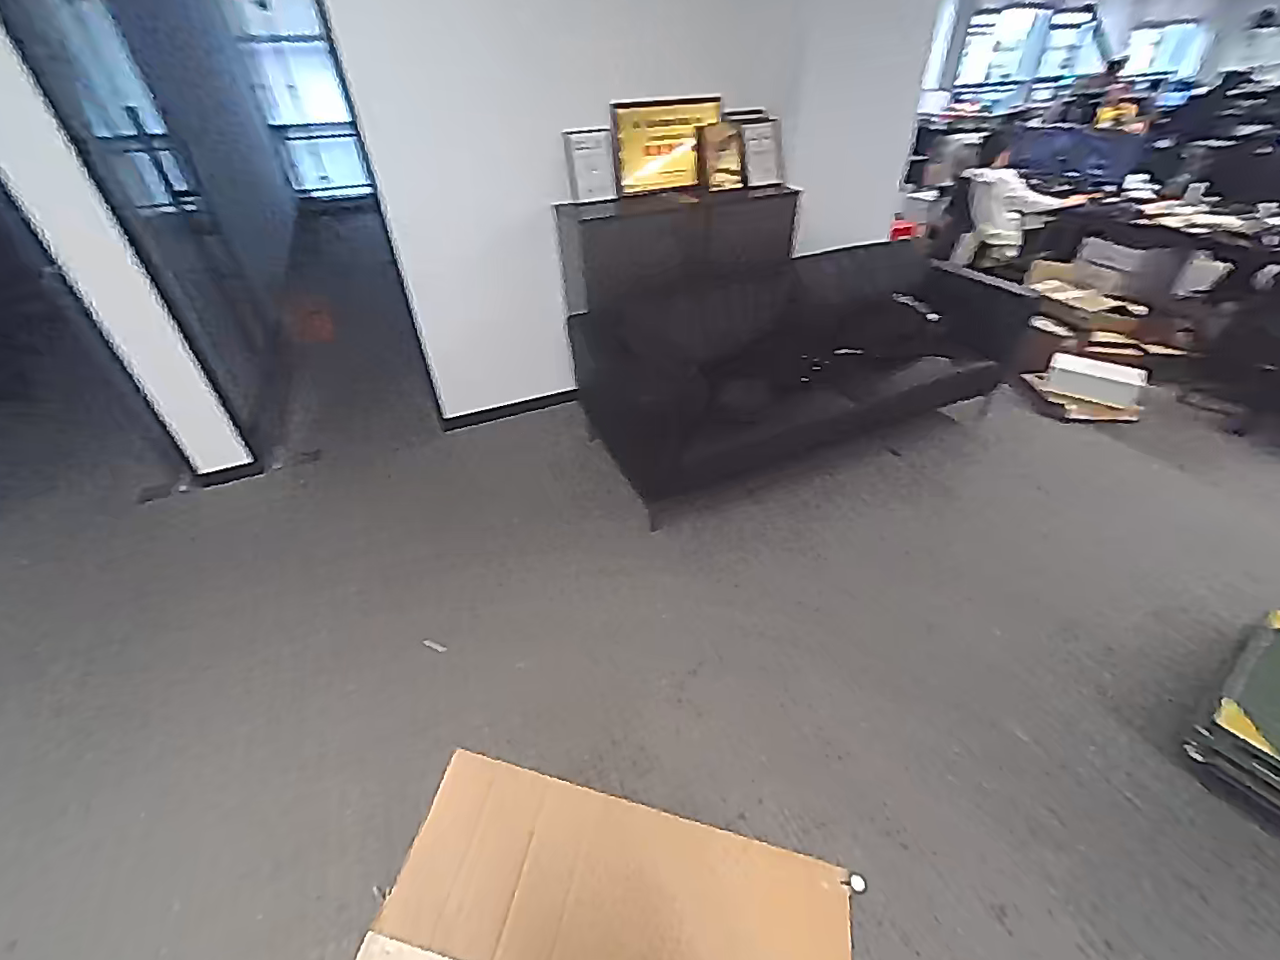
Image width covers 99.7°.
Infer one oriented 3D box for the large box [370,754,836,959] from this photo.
[{"bbox_3d":[-0.054,0.531,0.554,0.408,0.320,0.320,16,48,1],"label":"large box"}]
